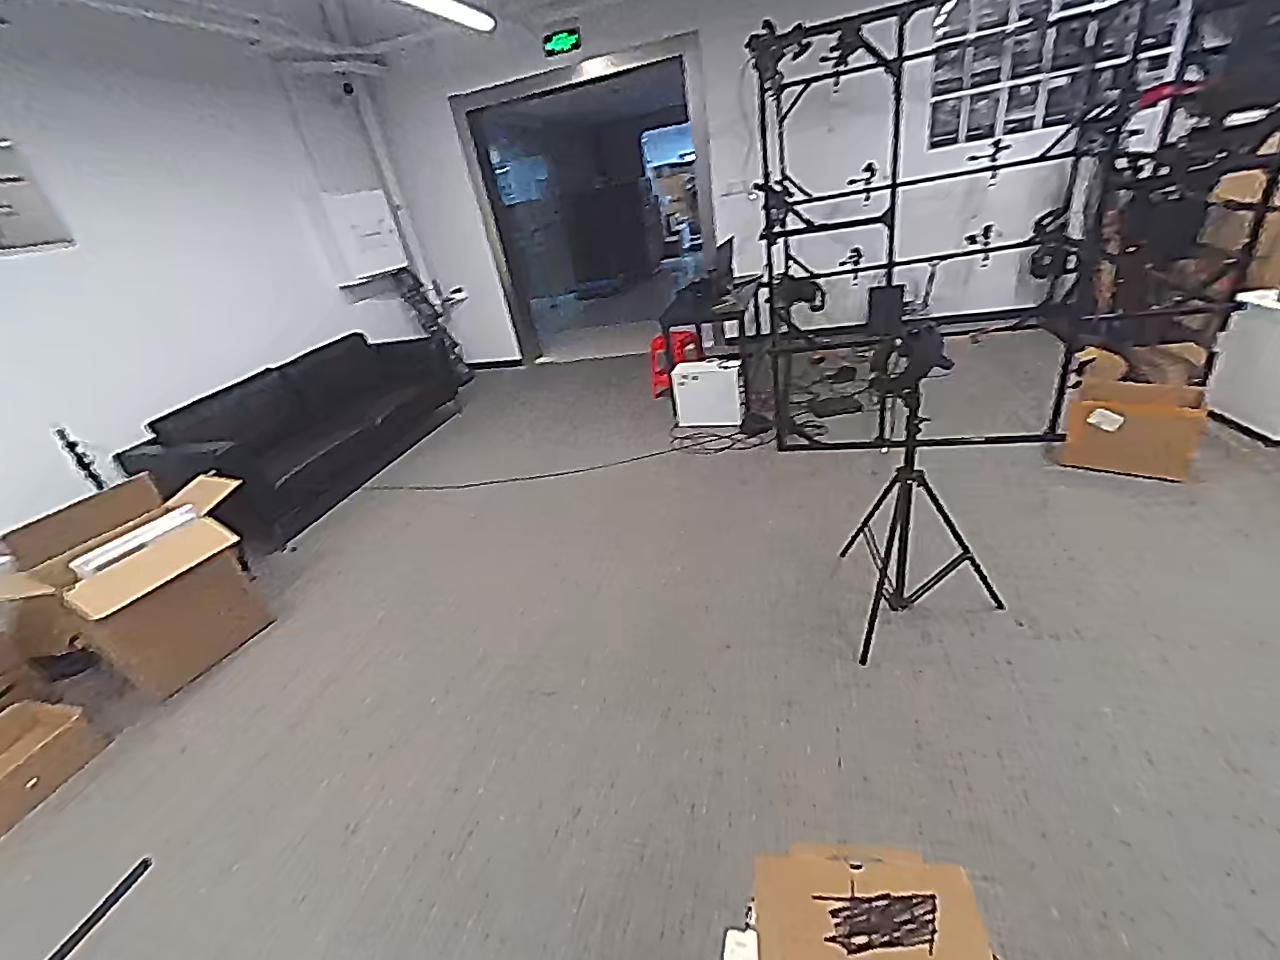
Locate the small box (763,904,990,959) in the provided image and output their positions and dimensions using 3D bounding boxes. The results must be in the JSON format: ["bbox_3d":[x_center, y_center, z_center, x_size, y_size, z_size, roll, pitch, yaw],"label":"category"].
[{"bbox_3d":[0.183,0.457,0.407,0.168,0.176,0.179,-5,37,11],"label":"small box"}]
